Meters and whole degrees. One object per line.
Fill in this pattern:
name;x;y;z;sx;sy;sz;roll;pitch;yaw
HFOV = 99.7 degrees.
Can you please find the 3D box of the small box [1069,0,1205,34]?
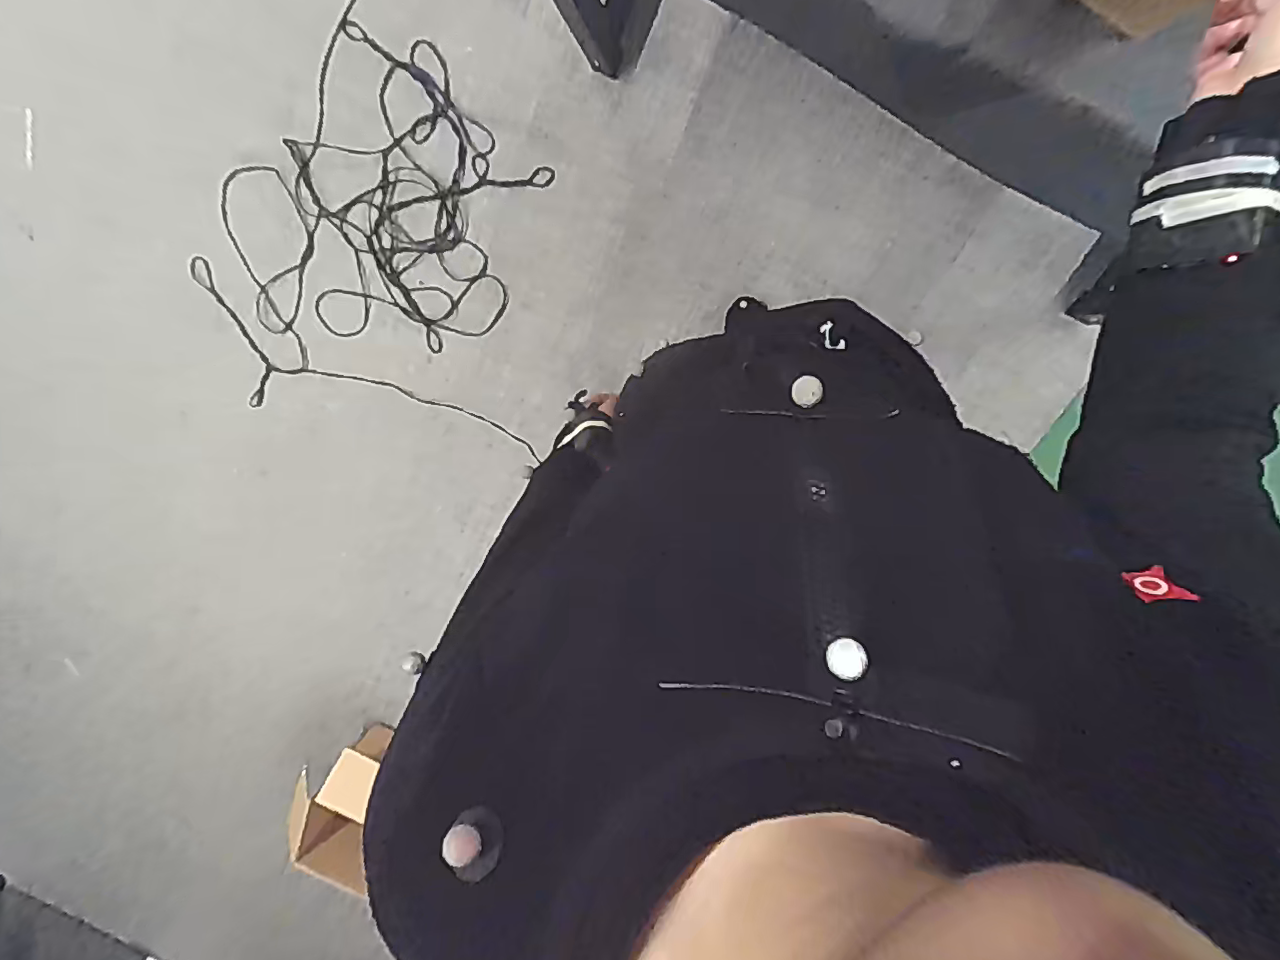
small box;0.363;-0.436;0.330;0.168;0.176;0.179;29;113;-1
